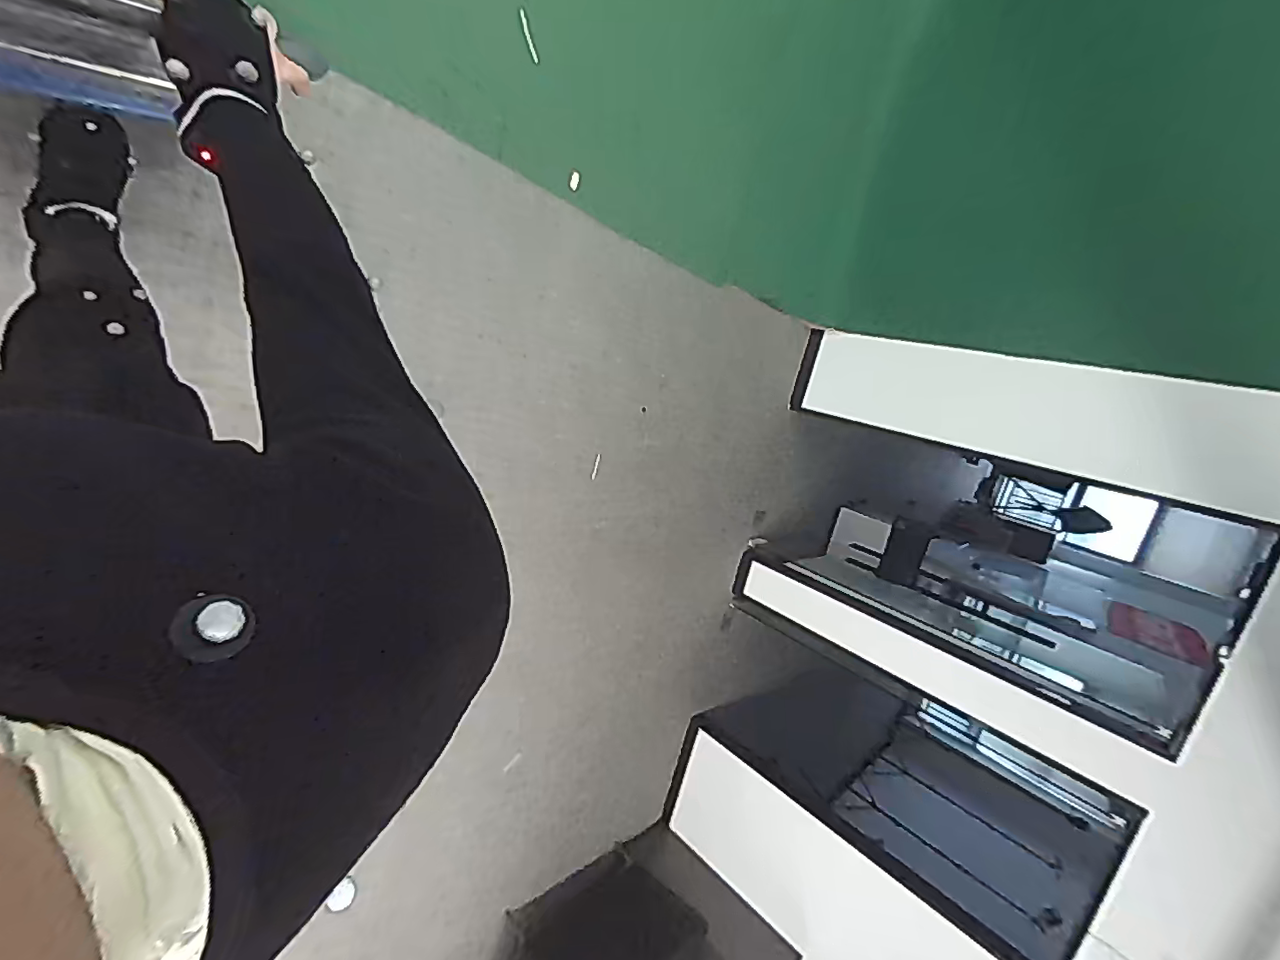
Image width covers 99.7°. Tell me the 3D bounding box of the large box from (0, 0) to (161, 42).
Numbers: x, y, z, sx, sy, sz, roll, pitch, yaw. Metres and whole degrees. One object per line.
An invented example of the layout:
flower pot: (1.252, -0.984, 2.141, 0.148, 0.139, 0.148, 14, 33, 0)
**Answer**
large box: (-0.836, -0.859, 0.662, 0.320, 0.320, 0.408, -14, 117, -43)
